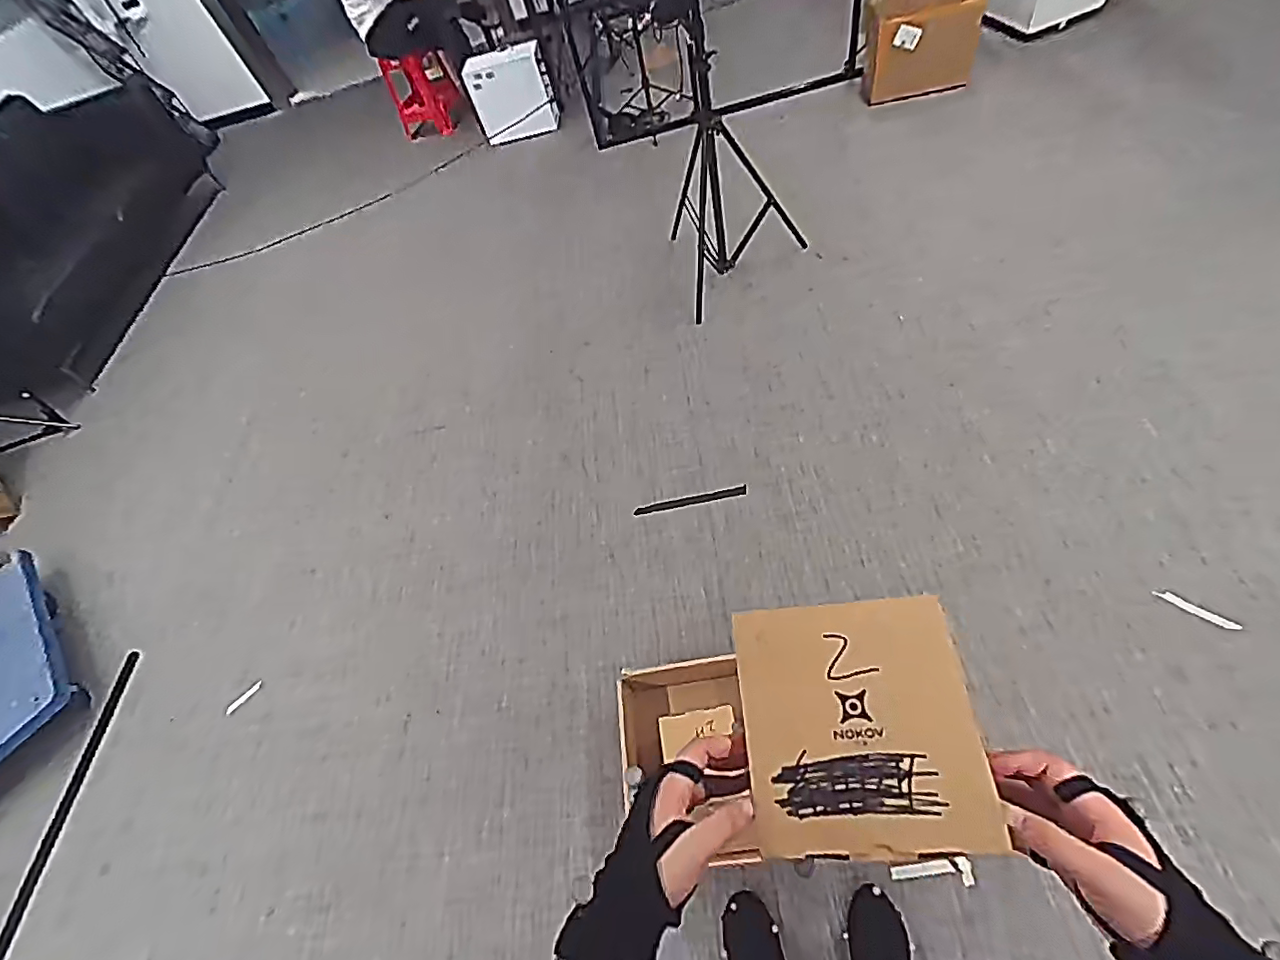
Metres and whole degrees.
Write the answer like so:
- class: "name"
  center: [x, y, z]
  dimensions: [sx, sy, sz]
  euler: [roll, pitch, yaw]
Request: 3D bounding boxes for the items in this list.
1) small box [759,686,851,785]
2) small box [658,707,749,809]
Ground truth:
- class: "small box"
  center: [0.353, 0.565, 1.188]
  dimensions: [0.168, 0.176, 0.179]
  euler: [-7, 56, 11]
- class: "small box"
  center: [0.144, 0.622, 1.202]
  dimensions: [0.168, 0.176, 0.179]
  euler: [-12, 55, 5]
